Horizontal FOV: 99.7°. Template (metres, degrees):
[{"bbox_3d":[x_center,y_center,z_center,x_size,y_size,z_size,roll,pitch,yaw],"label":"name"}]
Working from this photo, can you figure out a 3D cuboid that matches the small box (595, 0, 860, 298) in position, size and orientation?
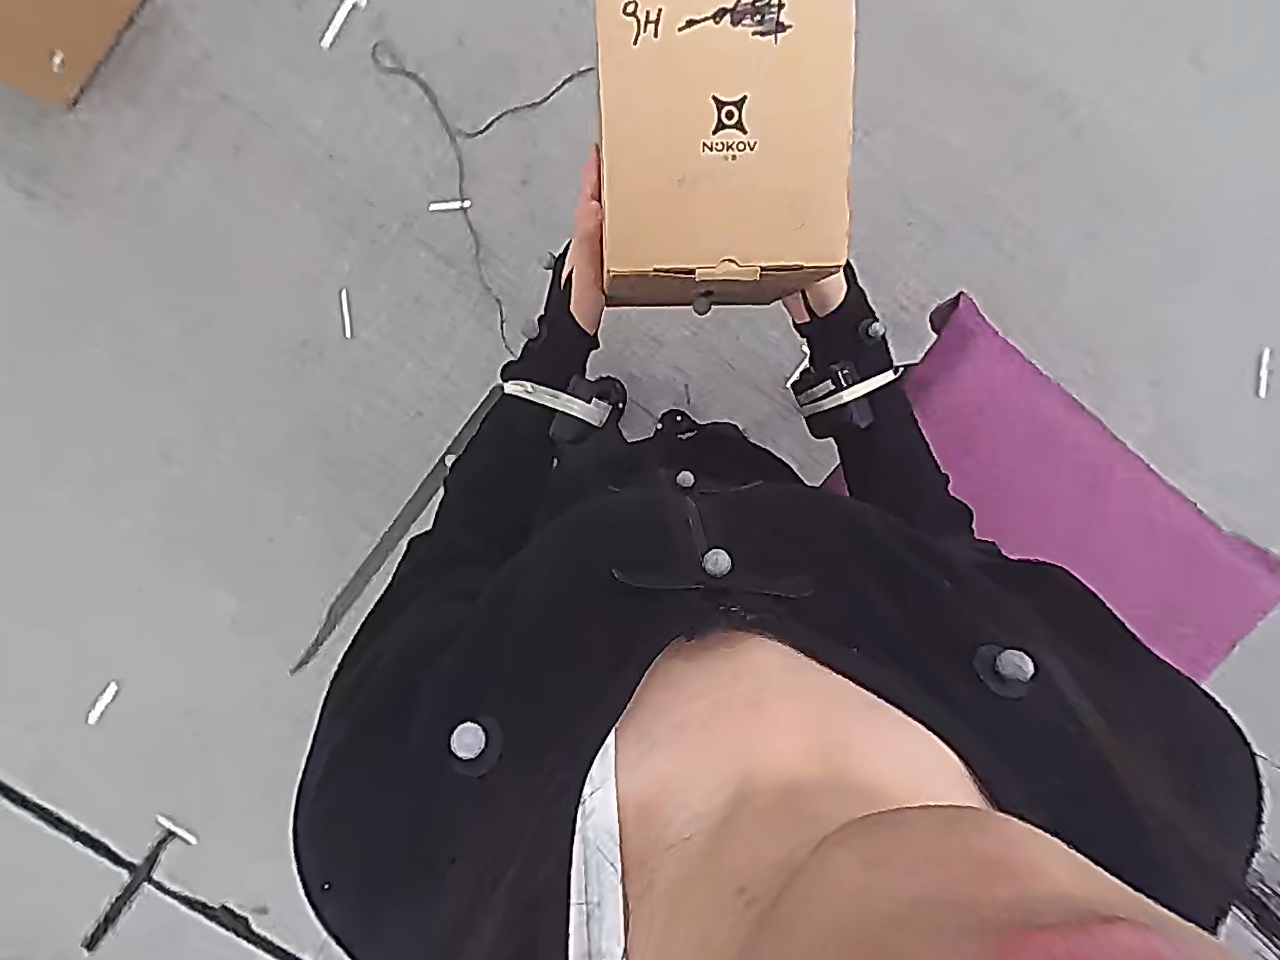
[{"bbox_3d":[0.051,-0.241,0.424,0.168,0.176,0.179,-3,101,-5],"label":"small box"}]
